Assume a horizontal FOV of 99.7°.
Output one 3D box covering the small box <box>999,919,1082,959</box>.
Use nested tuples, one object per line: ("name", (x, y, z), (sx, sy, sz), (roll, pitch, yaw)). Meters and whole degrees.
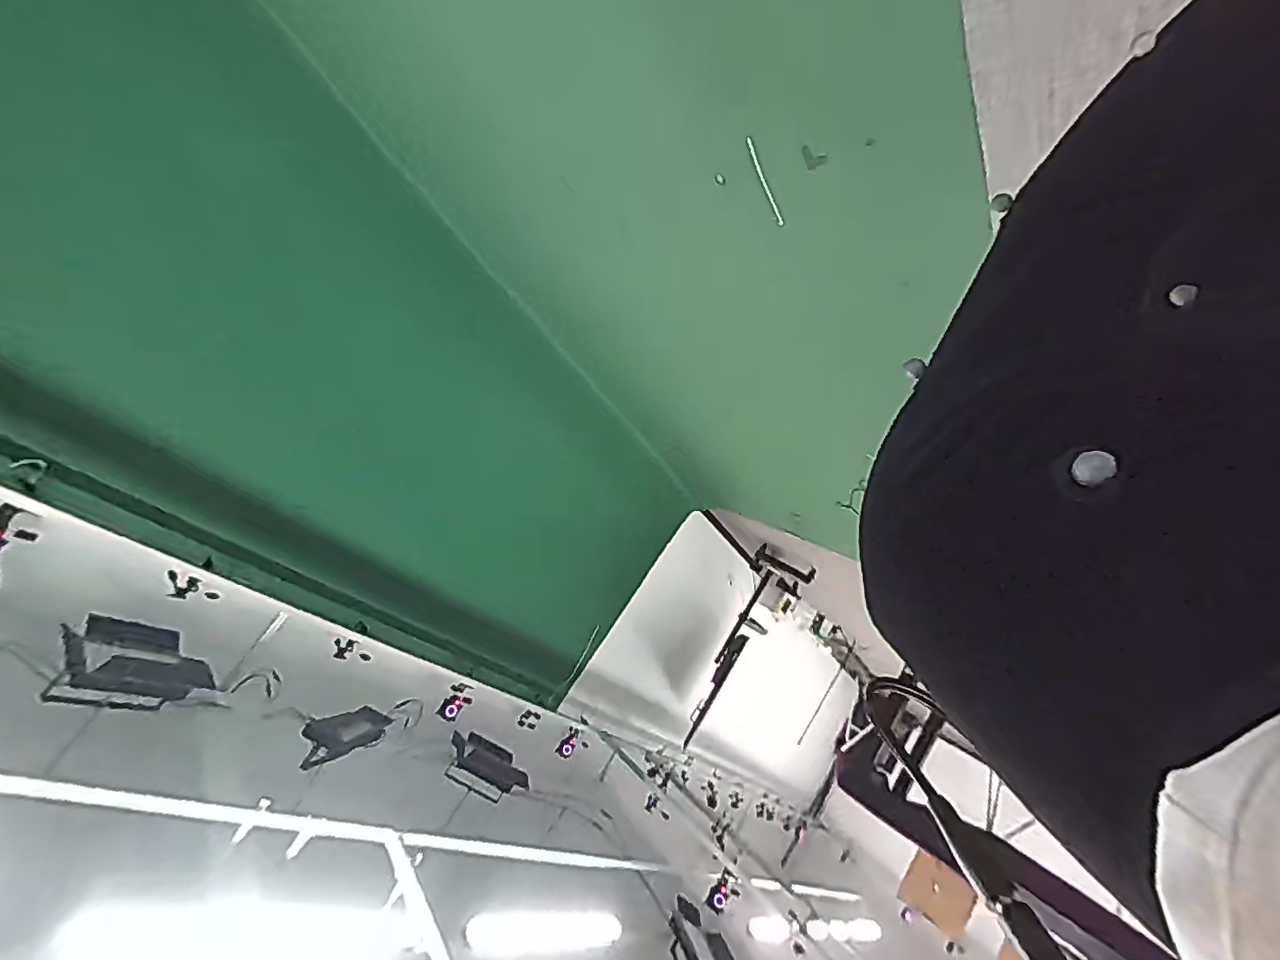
("small box", (1.067, 1.300, 1.421), (0.179, 0.176, 0.168), (19, 161, 49))
